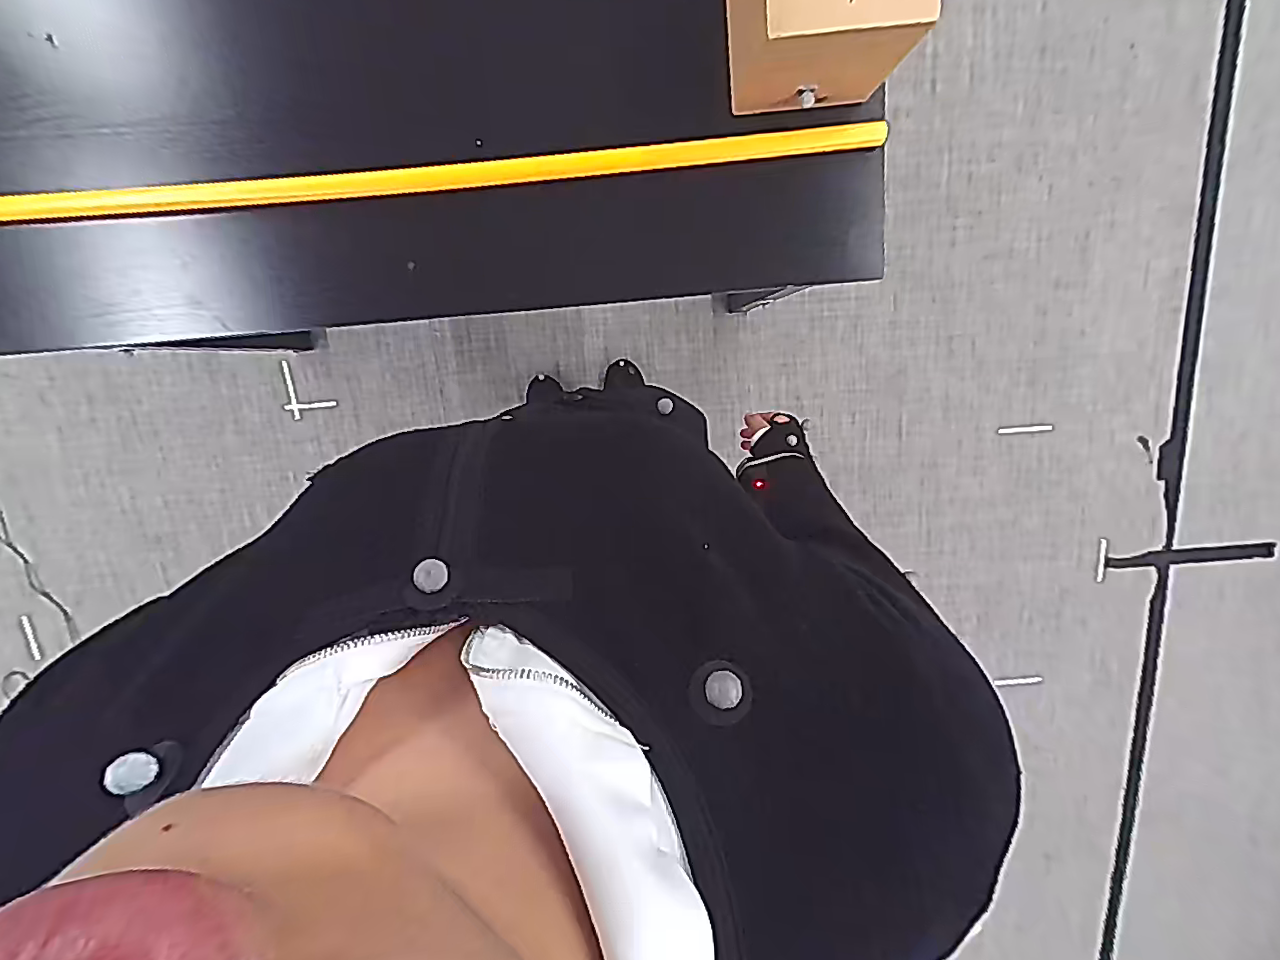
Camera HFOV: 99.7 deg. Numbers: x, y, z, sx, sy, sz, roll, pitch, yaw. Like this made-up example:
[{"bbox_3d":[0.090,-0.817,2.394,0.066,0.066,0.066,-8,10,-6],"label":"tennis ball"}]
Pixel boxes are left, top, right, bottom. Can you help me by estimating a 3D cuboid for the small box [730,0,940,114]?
[{"bbox_3d":[0.192,-0.523,0.568,0.168,0.176,0.179,-5,103,0],"label":"small box"}]
